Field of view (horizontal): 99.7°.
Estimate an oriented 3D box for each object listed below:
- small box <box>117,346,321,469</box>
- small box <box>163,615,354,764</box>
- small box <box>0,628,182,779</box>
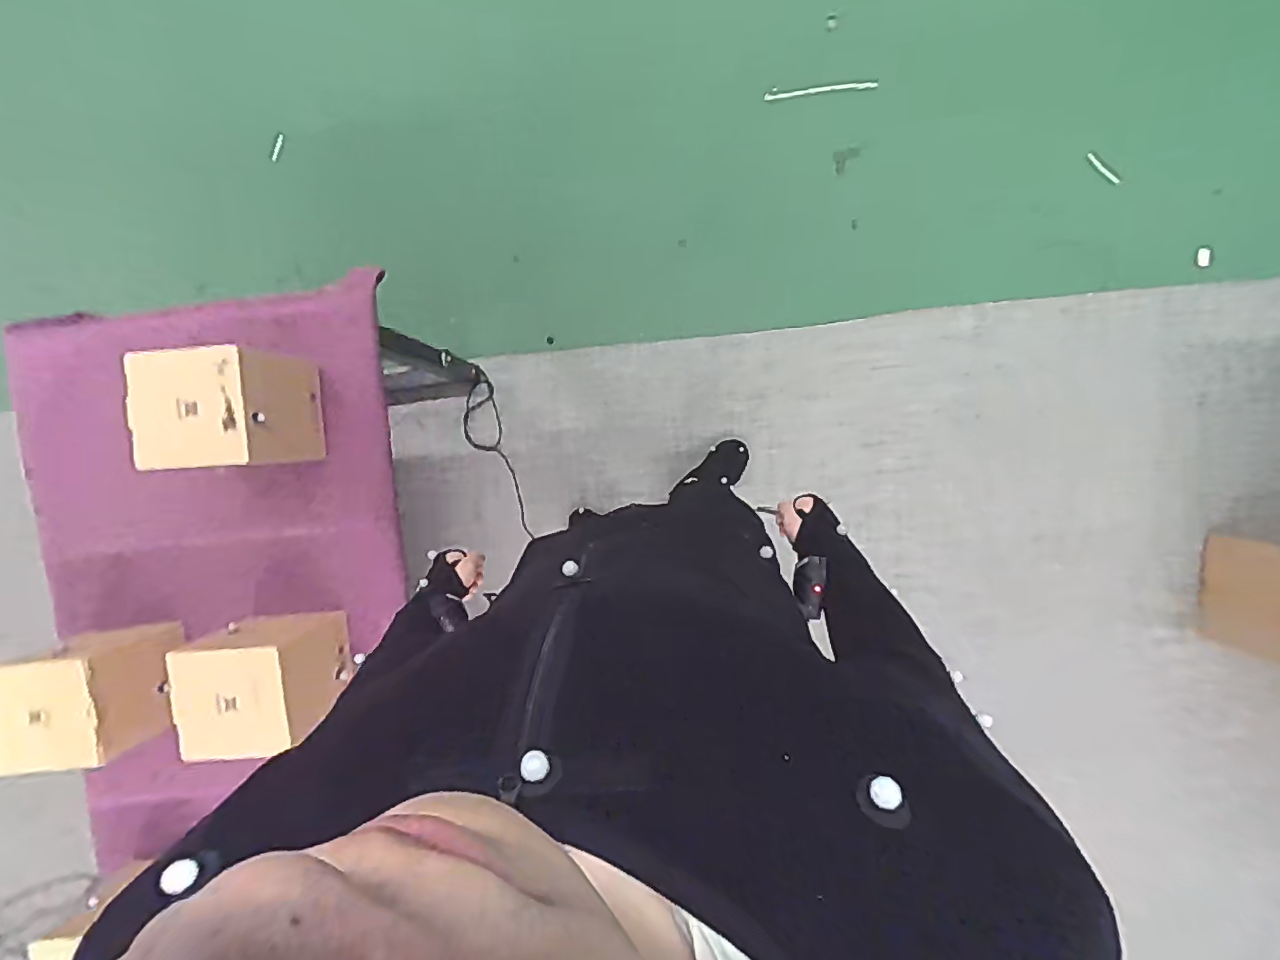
[{"bbox_3d":[-0.628,-0.105,0.826,0.179,0.176,0.168,-3,95,5],"label":"small box"},{"bbox_3d":[-0.590,0.322,0.856,0.179,0.176,0.168,-5,94,3],"label":"small box"},{"bbox_3d":[-0.886,0.350,0.871,0.179,0.176,0.168,-7,93,2],"label":"small box"}]
